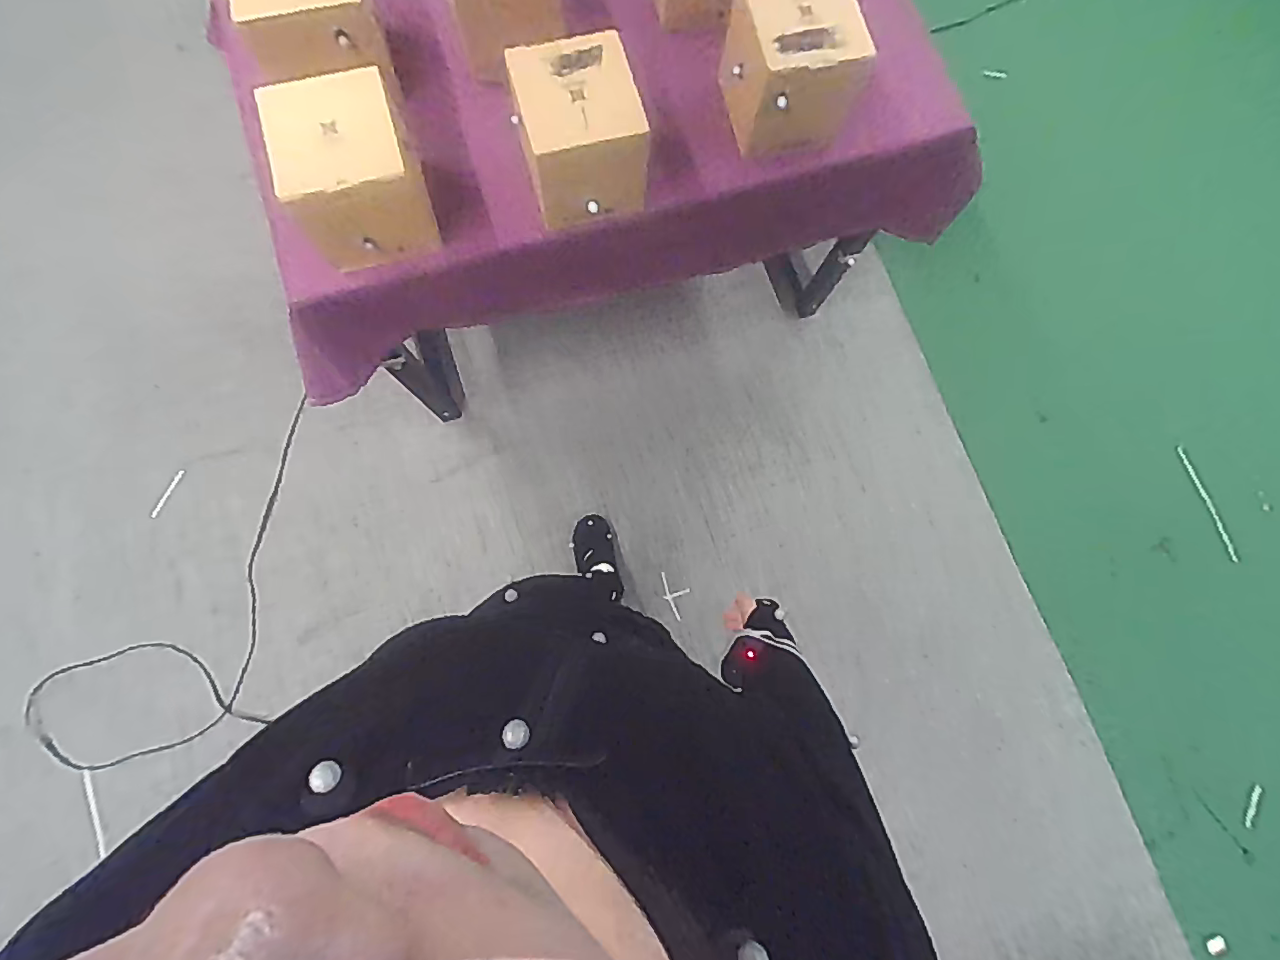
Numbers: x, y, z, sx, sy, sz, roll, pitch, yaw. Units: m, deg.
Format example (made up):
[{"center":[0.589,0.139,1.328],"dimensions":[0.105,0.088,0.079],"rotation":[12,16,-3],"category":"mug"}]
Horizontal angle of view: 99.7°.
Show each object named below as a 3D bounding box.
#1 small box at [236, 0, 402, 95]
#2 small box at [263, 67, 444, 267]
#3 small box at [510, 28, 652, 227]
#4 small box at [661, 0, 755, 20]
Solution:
[{"center":[-0.490,-0.708,0.838],"dimensions":[0.179,0.176,0.168],"rotation":[-16,81,-6],"category":"small box"},{"center":[-0.410,-0.451,0.797],"dimensions":[0.168,0.176,0.179],"rotation":[-16,81,-6],"category":"small box"},{"center":[-0.088,-0.525,0.824],"dimensions":[0.168,0.176,0.179],"rotation":[-15,81,-5],"category":"small box"},{"center":[0.116,-0.917,0.904],"dimensions":[0.168,0.176,0.179],"rotation":[-10,81,-5],"category":"small box"}]
